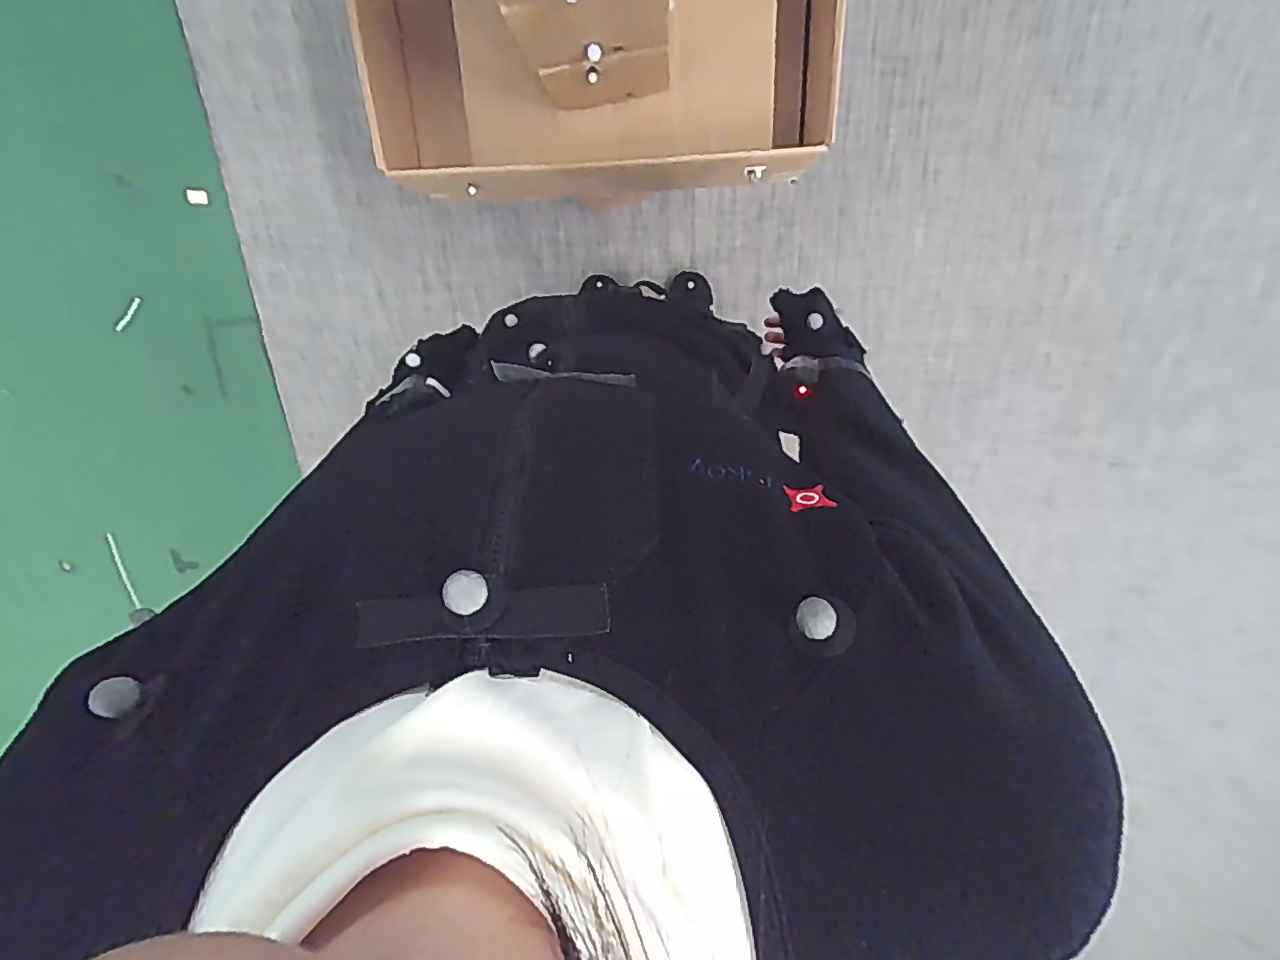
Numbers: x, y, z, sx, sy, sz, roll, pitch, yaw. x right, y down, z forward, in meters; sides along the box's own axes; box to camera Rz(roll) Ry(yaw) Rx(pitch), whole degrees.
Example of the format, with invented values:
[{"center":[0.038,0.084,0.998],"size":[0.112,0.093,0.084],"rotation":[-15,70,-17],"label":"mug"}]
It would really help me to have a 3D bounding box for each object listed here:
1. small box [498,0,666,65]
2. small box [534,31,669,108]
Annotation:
[{"center":[-0.063,-0.569,0.553],"size":[0.168,0.176,0.179],"rotation":[-6,111,6],"label":"small box"},{"center":[-0.054,-0.625,0.708],"size":[0.168,0.176,0.179],"rotation":[-7,110,7],"label":"small box"}]
